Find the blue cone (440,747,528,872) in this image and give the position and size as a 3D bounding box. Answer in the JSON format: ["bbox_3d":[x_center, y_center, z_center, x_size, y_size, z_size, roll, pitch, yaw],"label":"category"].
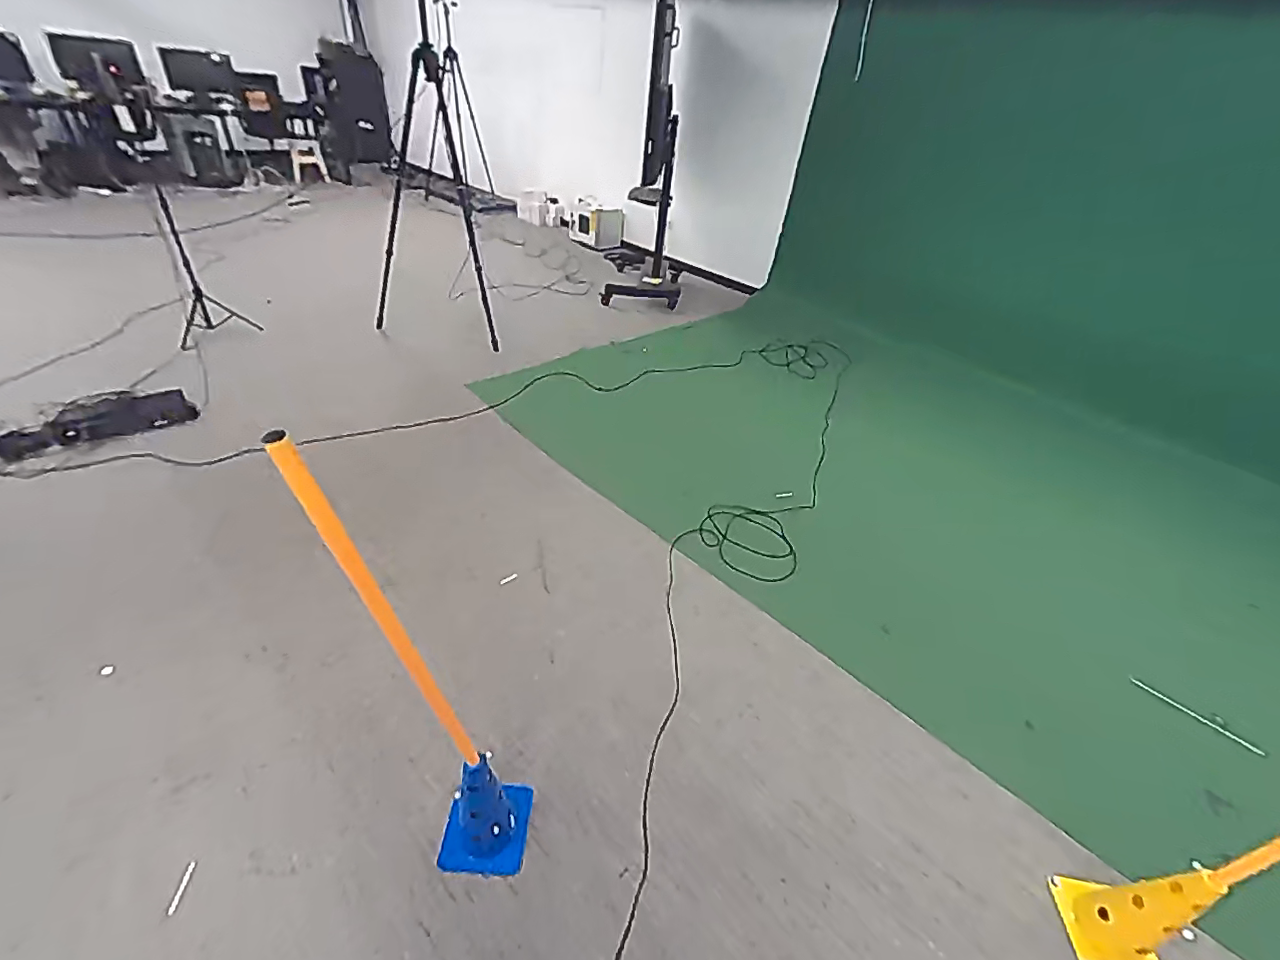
[{"bbox_3d":[-0.365,0.720,1.222,0.193,0.380,0.192,3,38,-3],"label":"blue cone"}]
